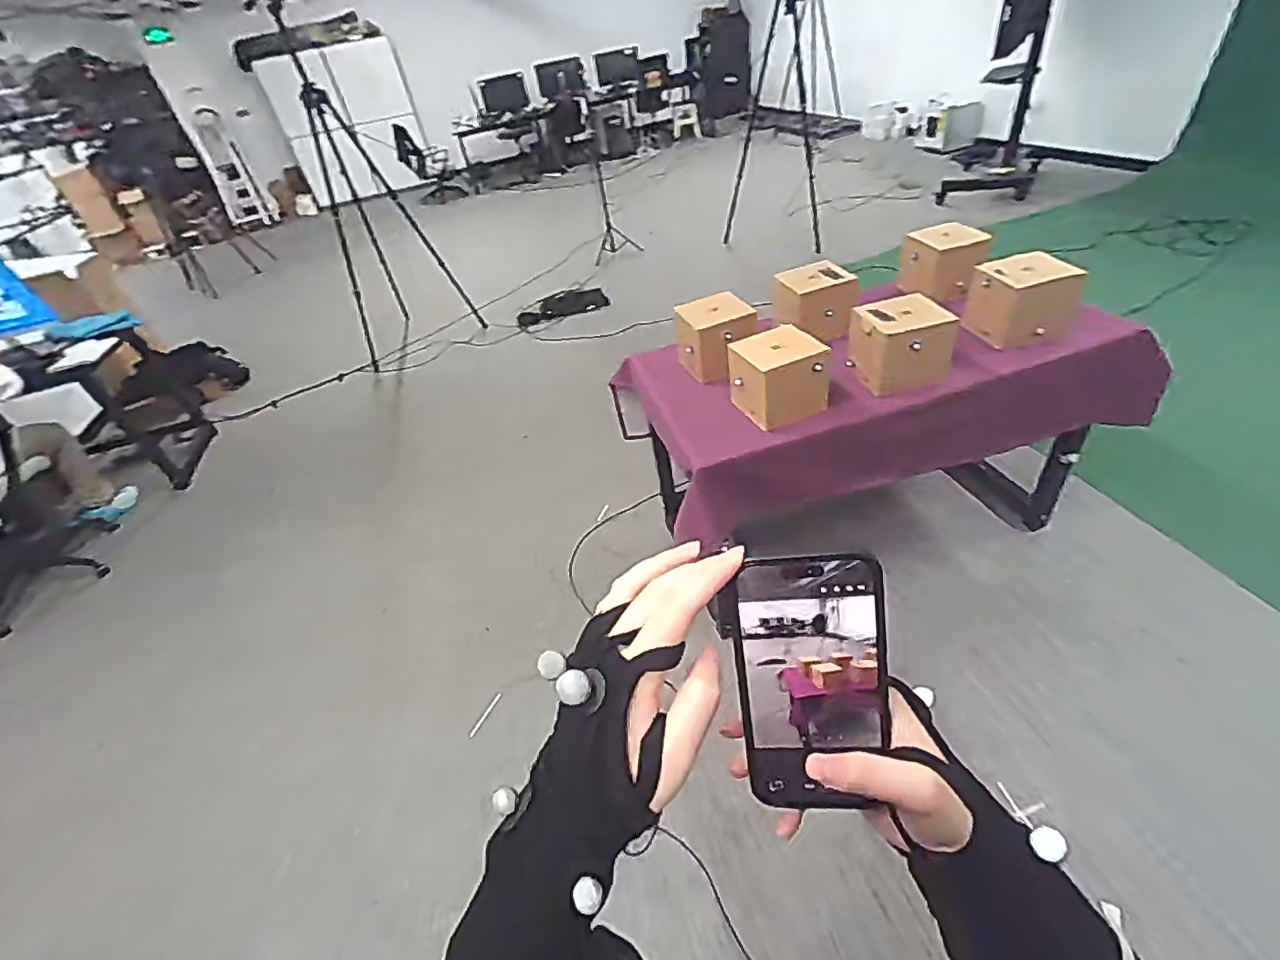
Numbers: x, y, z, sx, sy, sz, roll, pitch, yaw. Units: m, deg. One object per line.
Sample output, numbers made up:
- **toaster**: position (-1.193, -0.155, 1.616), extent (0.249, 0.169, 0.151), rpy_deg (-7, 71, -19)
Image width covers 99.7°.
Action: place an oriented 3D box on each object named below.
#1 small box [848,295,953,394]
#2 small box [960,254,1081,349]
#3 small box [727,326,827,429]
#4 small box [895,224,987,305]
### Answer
- **small box**: position (0.630, -0.331, 1.335), extent (0.179, 0.176, 0.168), rpy_deg (-13, 40, -2)
- **small box**: position (0.972, -0.461, 1.402), extent (0.179, 0.176, 0.168), rpy_deg (-12, 40, -1)
- **small box**: position (0.329, -0.247, 1.312), extent (0.179, 0.176, 0.168), rpy_deg (-20, 40, -12)
- **small box**: position (0.902, -0.652, 1.640), extent (0.168, 0.176, 0.179), rpy_deg (-15, 41, -3)
